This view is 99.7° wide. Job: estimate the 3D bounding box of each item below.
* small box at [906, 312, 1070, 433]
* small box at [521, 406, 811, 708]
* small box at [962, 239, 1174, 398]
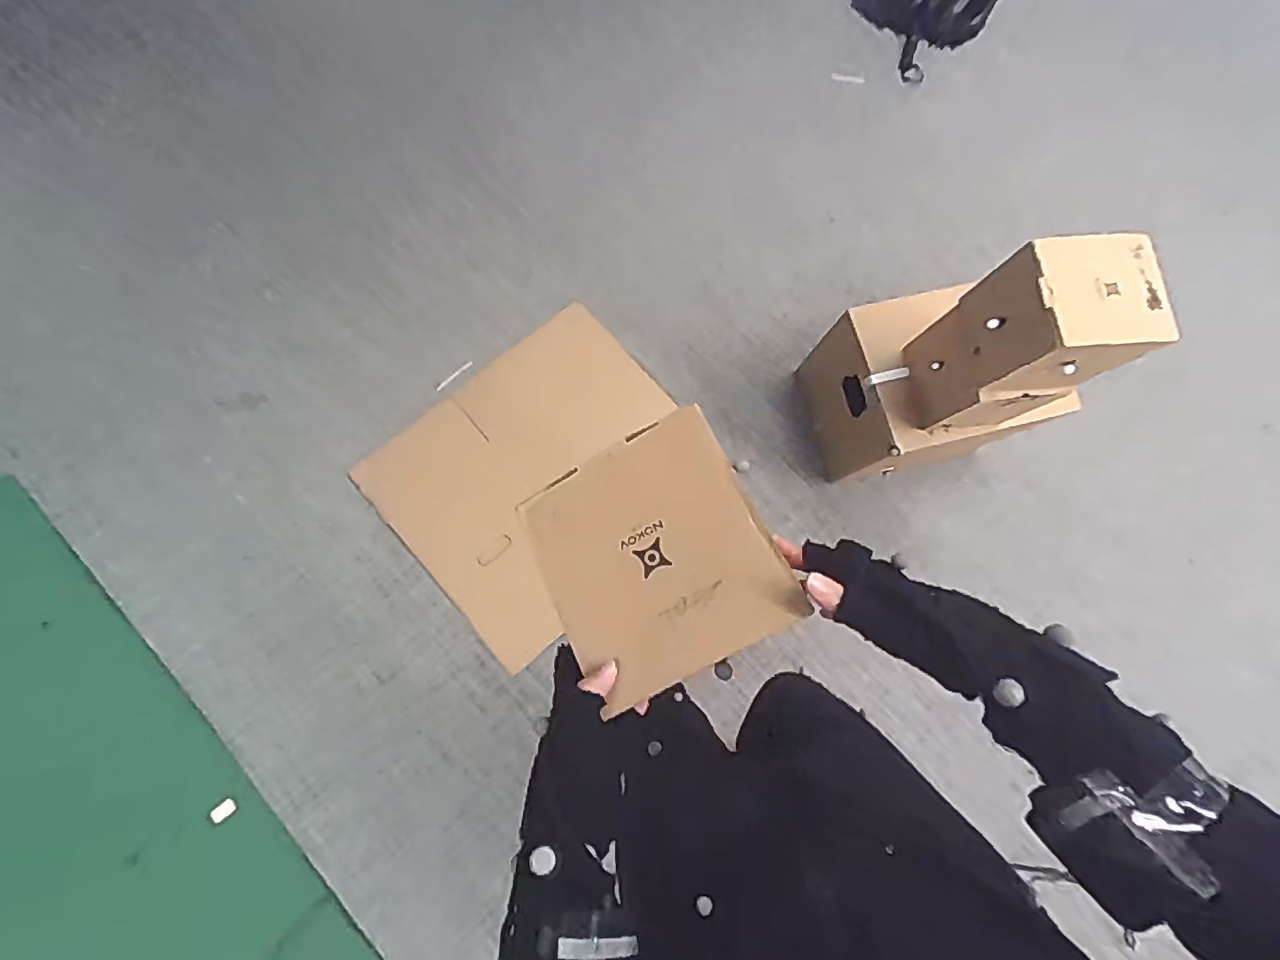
[{"bbox_3d":[0.616,-0.190,0.979,0.168,0.176,0.179,-6,78,-4],"label":"small box"},{"bbox_3d":[0.030,0.071,0.475,0.168,0.176,0.179,-31,70,7],"label":"small box"},{"bbox_3d":[0.628,-0.236,0.825,0.179,0.176,0.168,-7,77,-5],"label":"small box"}]
